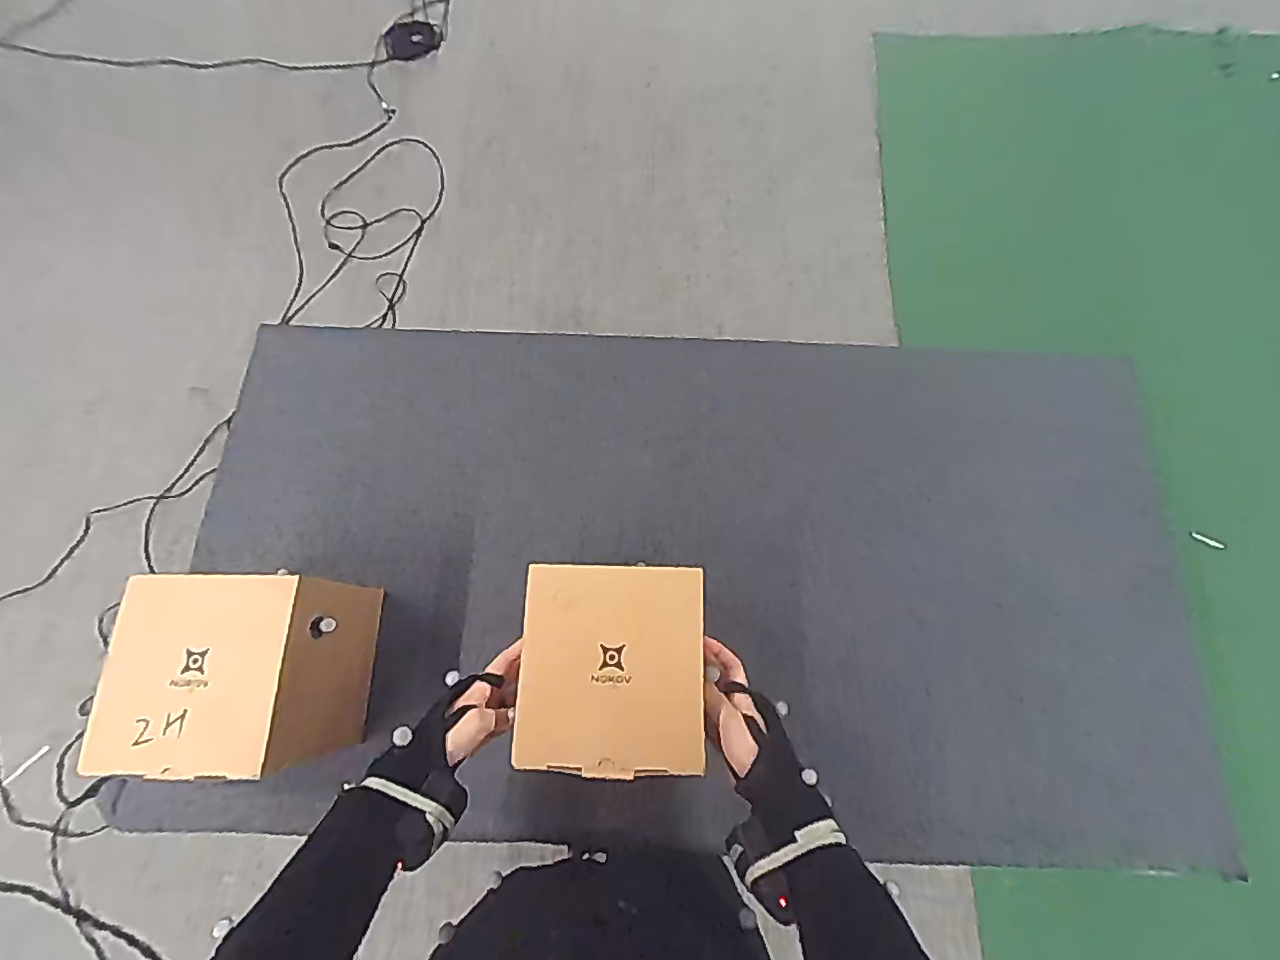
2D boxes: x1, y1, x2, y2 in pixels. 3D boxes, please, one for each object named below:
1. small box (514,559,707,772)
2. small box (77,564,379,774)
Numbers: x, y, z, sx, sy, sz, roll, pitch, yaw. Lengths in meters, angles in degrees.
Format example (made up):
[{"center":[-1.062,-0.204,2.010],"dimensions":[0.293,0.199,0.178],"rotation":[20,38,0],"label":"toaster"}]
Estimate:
[{"center":[-0.022,0.184,0.555],"dimensions":[0.168,0.176,0.179],"rotation":[1,73,2],"label":"small box"},{"center":[-0.397,0.187,0.560],"dimensions":[0.168,0.176,0.179],"rotation":[1,74,2],"label":"small box"}]
